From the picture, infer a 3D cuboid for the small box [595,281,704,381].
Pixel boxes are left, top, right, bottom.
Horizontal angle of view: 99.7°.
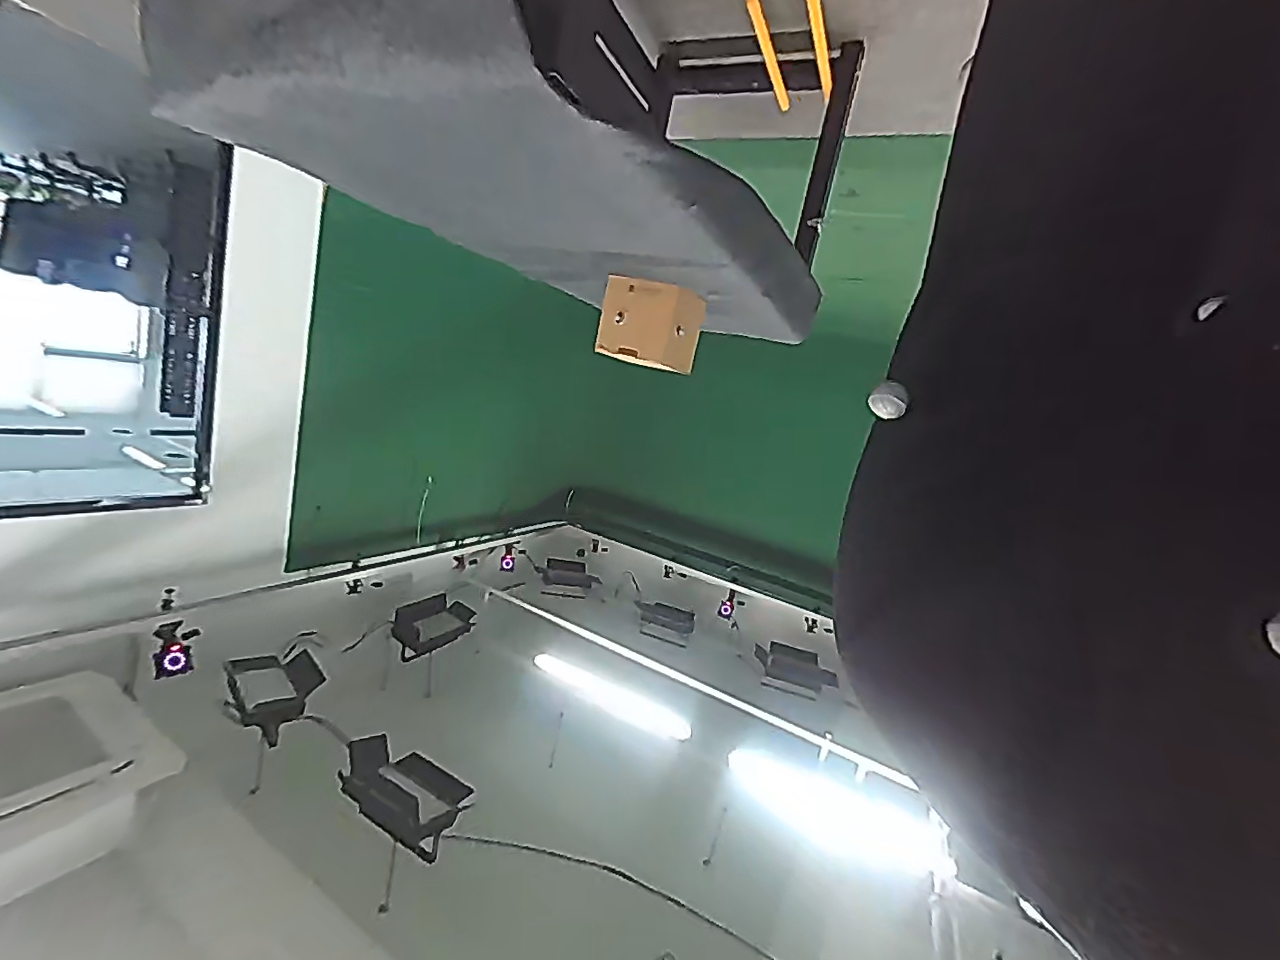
[{"bbox_3d":[0.025,-0.326,1.188,0.168,0.176,0.179,18,-170,23],"label":"small box"}]
